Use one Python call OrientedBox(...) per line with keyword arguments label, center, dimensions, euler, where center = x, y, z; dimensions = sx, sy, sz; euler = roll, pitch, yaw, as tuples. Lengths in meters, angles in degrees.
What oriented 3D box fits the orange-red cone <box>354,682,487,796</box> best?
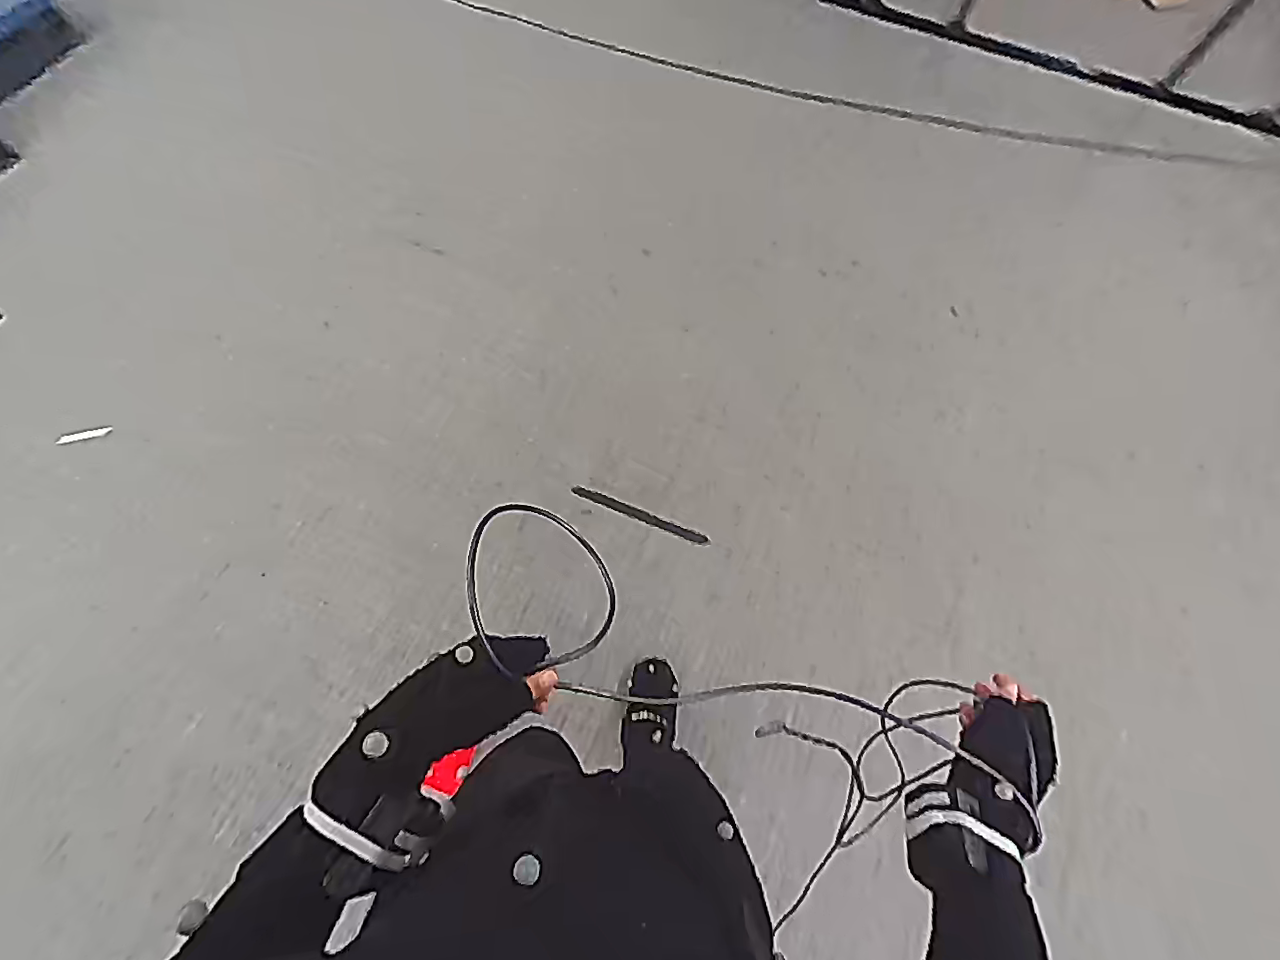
OrientedBox(label="orange-red cone", center=(-0.471, 0.525, 1.078), dimensions=(0.199, 0.360, 0.198), euler=(19, 69, 7))
